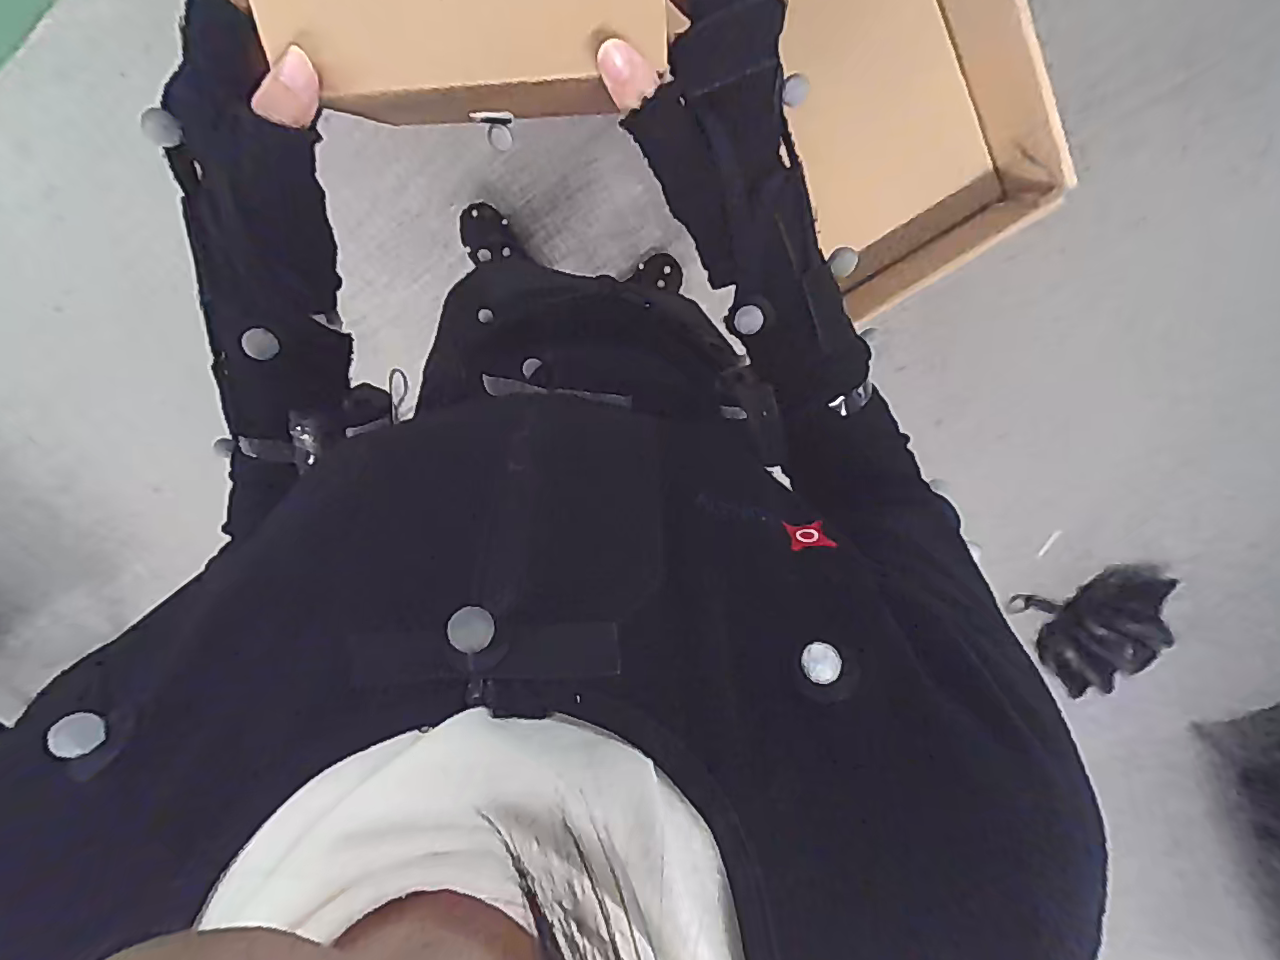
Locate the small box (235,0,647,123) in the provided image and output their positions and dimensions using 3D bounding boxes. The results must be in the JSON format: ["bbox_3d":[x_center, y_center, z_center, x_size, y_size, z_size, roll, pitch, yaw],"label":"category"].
[{"bbox_3d":[-0.088,-0.286,0.258,0.168,0.176,0.179,-5,120,-1],"label":"small box"}]
